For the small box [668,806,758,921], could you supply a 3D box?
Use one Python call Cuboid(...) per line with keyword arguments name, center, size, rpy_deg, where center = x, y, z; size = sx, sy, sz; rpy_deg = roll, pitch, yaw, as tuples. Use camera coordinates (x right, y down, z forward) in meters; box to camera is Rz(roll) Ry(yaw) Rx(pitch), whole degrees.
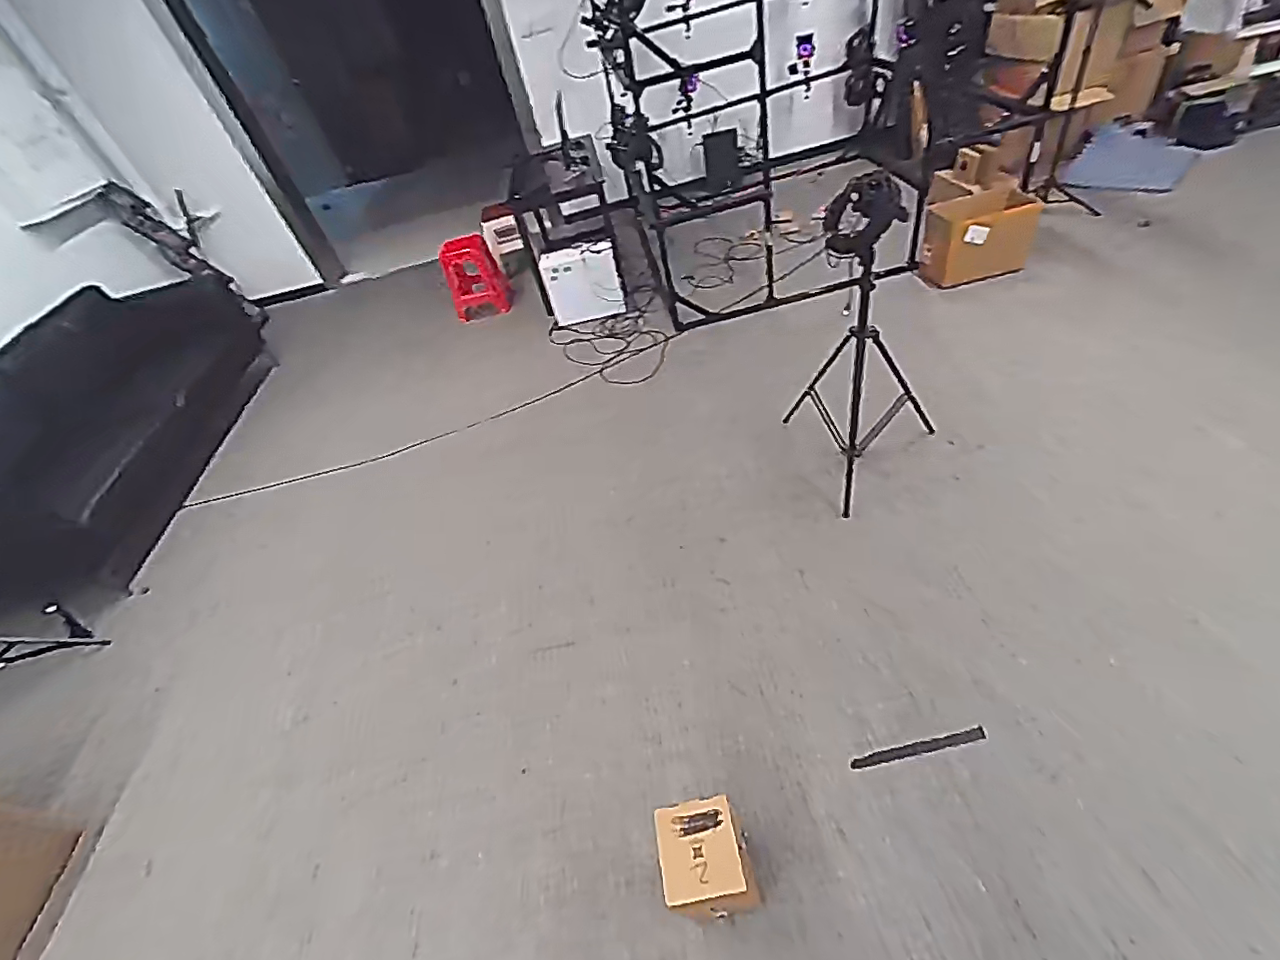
Cuboid(name="small box", center=(0.175, 0.920, 1.296), size=(0.168, 0.176, 0.179), rpy_deg=(-16, 43, 2))
